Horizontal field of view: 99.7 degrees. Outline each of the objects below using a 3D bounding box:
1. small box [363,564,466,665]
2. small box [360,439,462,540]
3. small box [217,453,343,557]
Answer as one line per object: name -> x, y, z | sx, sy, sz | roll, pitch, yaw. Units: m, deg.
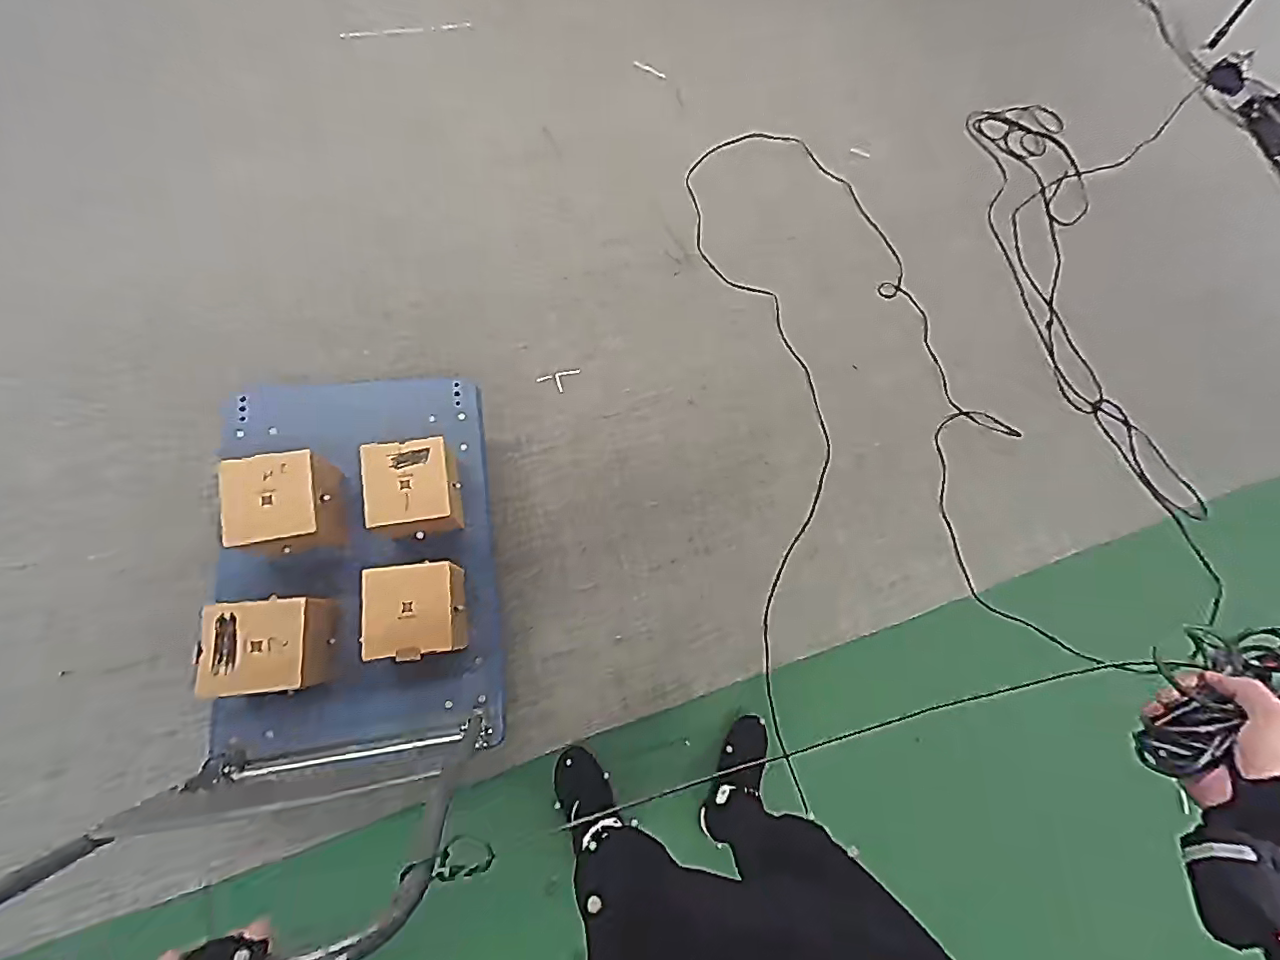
small box -> -0.460, 0.276, 1.119 | 0.168, 0.176, 0.179 | -5, 78, -10
small box -> -0.490, 0.025, 1.174 | 0.168, 0.176, 0.179 | -8, 79, -10
small box -> -0.740, 0.060, 1.127 | 0.168, 0.176, 0.179 | -10, 78, -12
